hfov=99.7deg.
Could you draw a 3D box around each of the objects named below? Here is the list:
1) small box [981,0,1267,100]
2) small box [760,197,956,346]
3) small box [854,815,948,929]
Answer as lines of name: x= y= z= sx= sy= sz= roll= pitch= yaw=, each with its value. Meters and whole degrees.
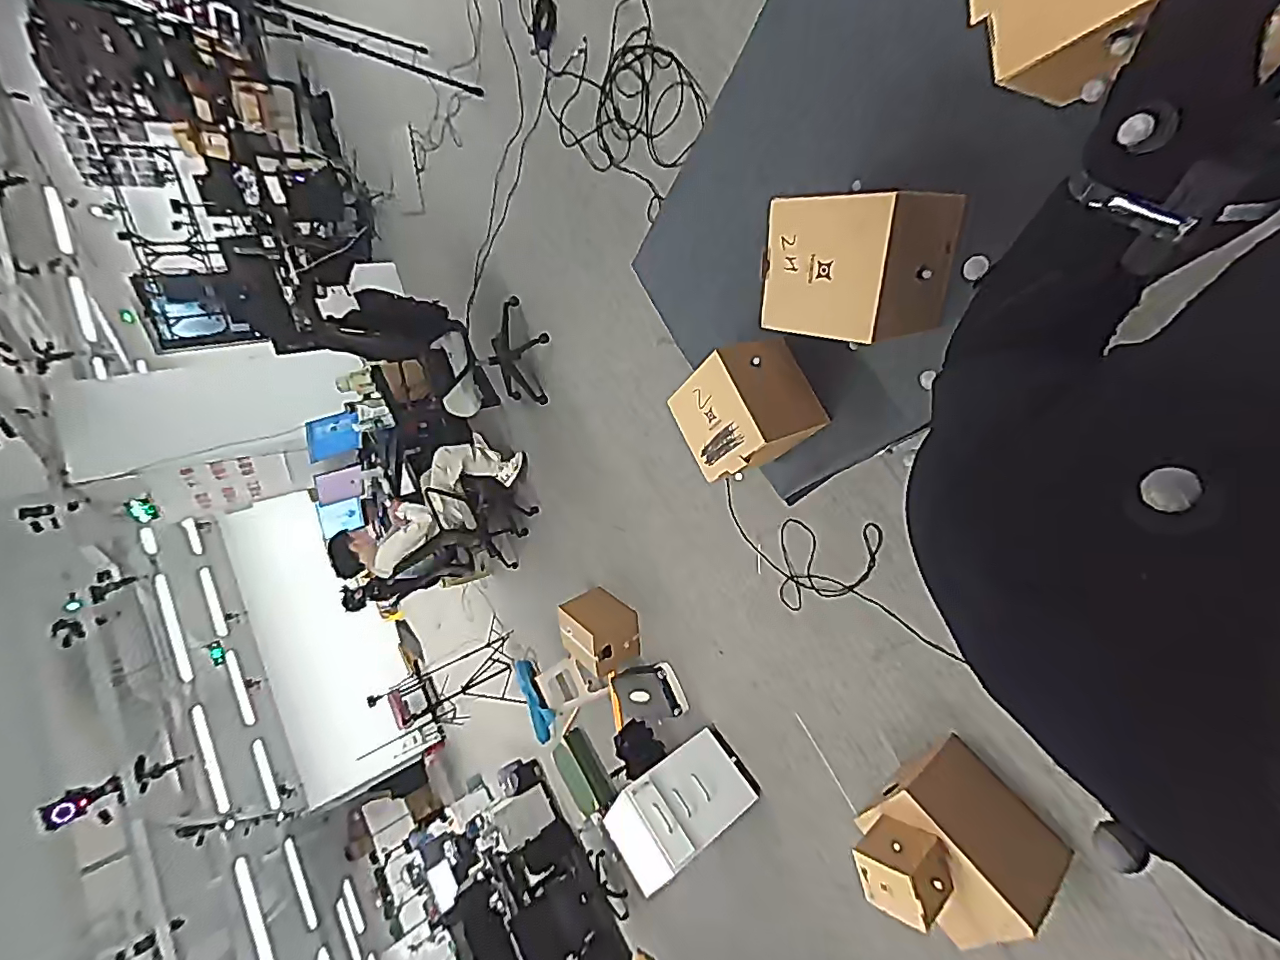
small box: x=0.417 y=-0.459 z=0.457 sx=0.179 sy=0.176 sz=0.168 roll=0 pitch=106 yaw=56
small box: x=0.287 y=-0.285 z=0.724 sx=0.179 sy=0.176 sz=0.168 roll=28 pitch=127 yaw=46
small box: x=0.748 y=1.099 z=1.536 sx=0.179 sy=0.176 sz=0.168 roll=-14 pitch=95 yaw=54
